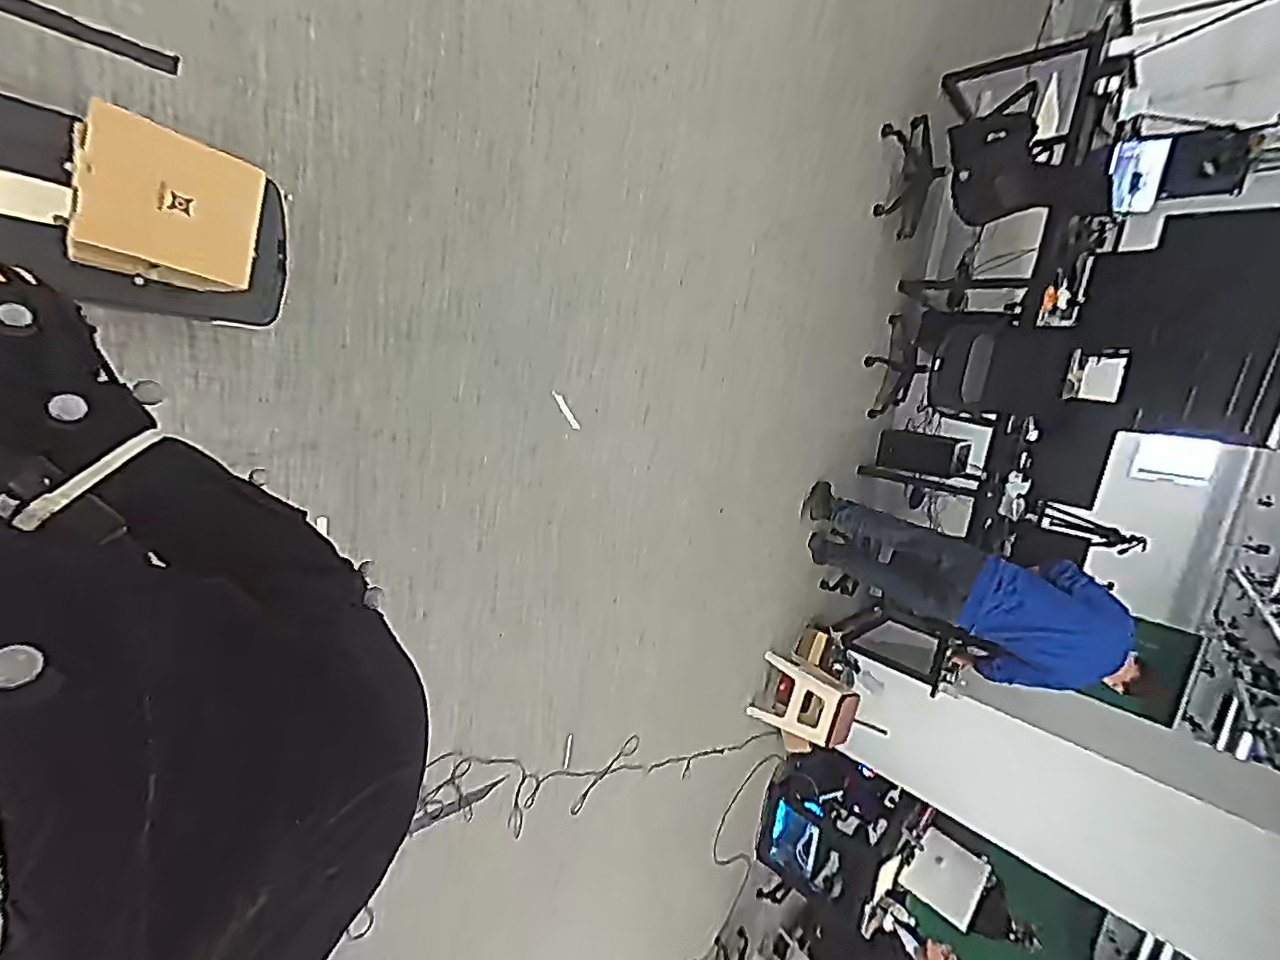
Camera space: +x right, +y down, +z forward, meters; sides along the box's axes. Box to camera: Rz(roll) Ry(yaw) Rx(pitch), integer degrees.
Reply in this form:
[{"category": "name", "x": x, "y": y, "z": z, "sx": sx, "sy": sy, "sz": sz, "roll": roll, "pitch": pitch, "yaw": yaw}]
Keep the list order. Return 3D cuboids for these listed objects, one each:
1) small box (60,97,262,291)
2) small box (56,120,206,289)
[{"category": "small box", "x": -0.651, "y": -0.370, "z": 0.735, "sx": 0.179, "sy": 0.176, "sz": 0.168, "roll": 9, "pitch": 97, "yaw": -47}, {"category": "small box", "x": -0.775, "y": -0.406, "z": 0.835, "sx": 0.168, "sy": 0.176, "sz": 0.179, "roll": 4, "pitch": 100, "yaw": -48}]
